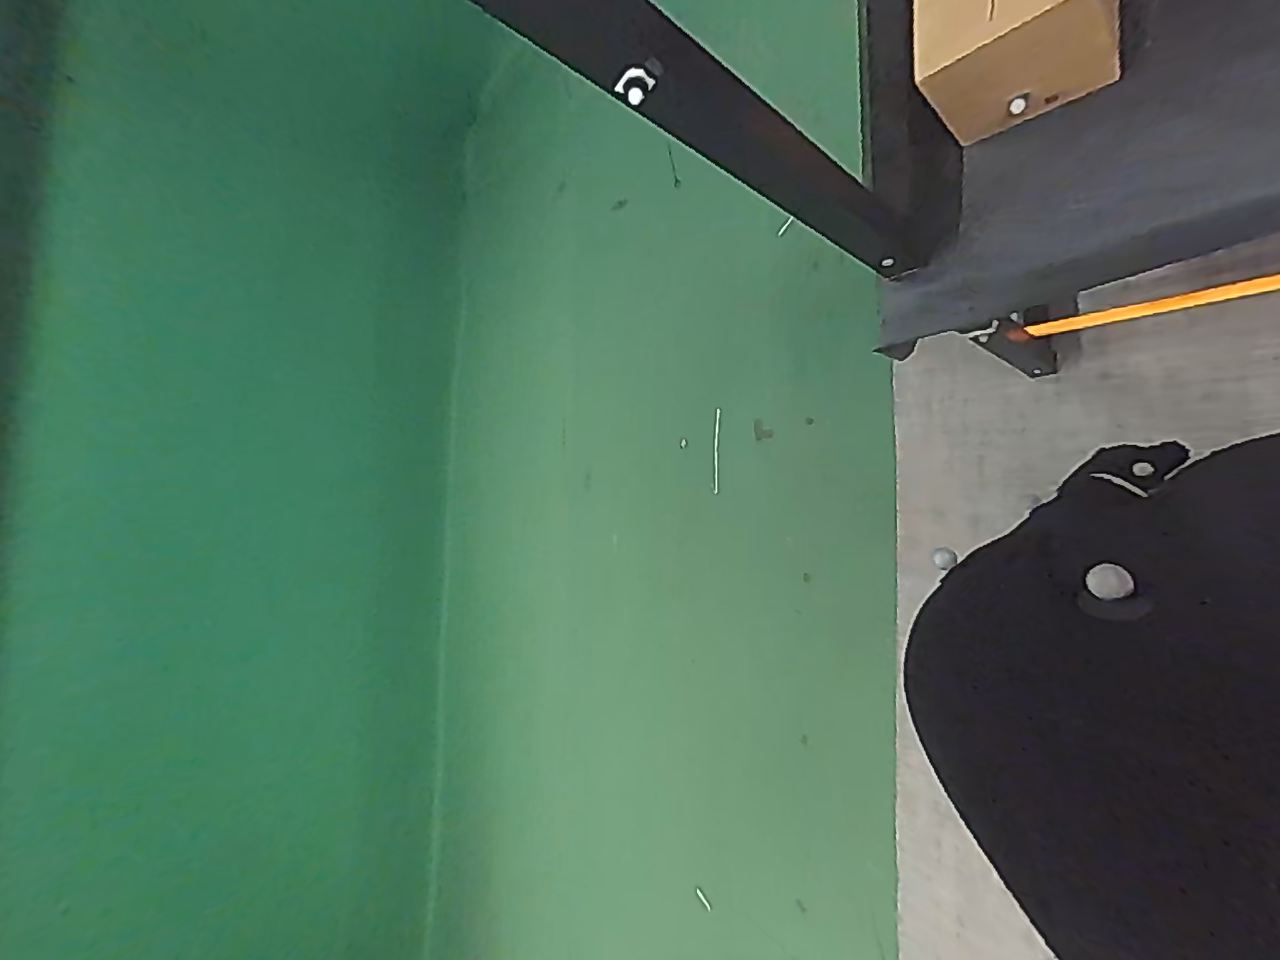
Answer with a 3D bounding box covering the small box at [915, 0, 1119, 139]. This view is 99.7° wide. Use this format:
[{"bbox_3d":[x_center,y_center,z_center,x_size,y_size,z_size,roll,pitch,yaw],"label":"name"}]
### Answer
[{"bbox_3d":[0.444,-0.556,0.639,0.168,0.176,0.179,-3,85,49],"label":"small box"}]
